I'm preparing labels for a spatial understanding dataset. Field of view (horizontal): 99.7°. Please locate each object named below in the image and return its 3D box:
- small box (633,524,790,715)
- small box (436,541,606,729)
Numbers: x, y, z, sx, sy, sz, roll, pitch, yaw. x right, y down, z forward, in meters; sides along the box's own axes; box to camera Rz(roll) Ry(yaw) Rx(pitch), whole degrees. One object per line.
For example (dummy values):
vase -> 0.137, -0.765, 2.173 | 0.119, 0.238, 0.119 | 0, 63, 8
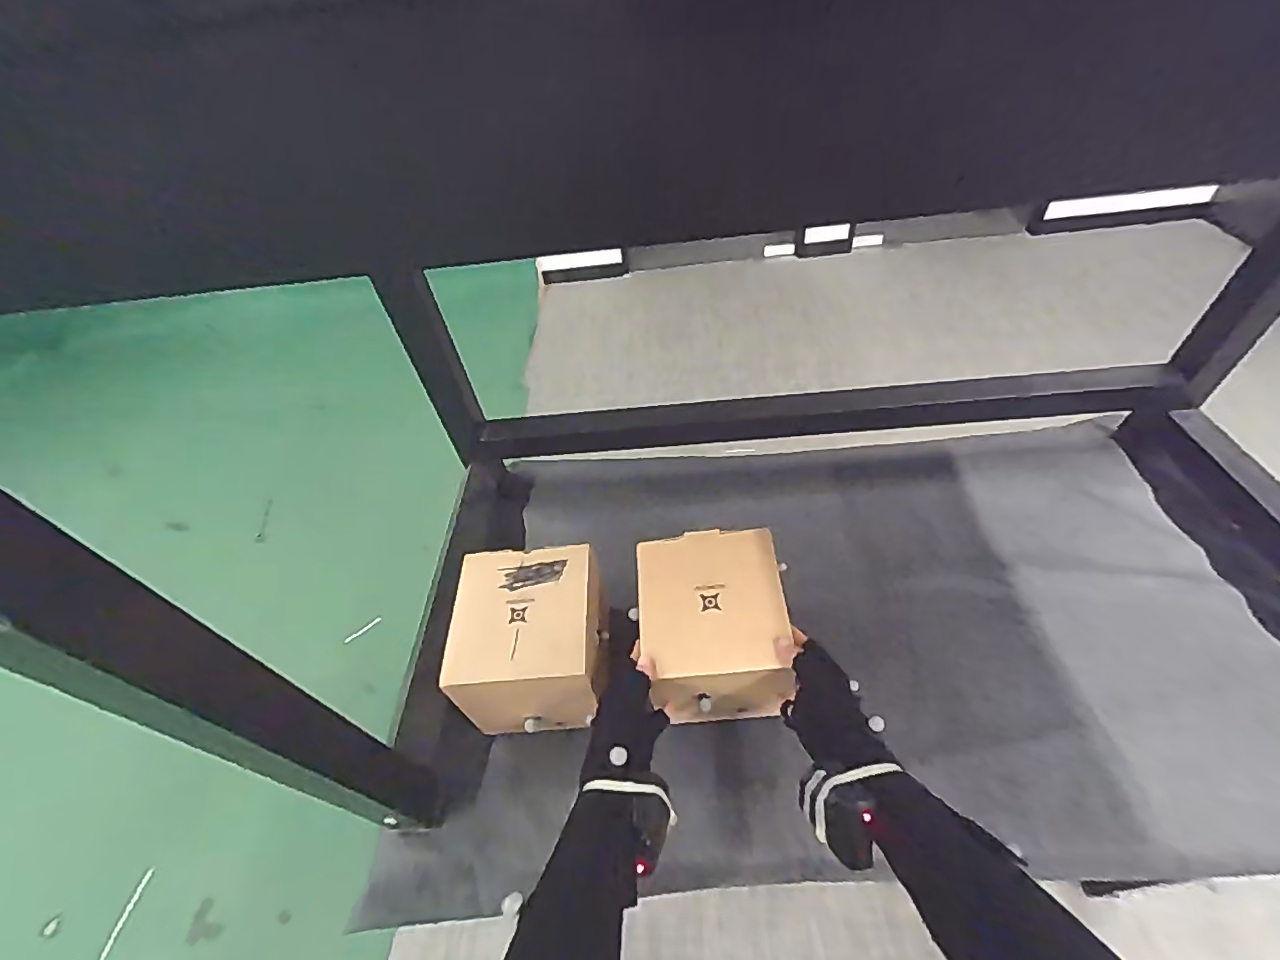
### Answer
small box -> 0.088, 0.180, 0.673 | 0.168, 0.176, 0.179 | -8, 48, 6
small box -> -0.138, 0.202, 0.701 | 0.168, 0.176, 0.179 | -6, 48, 3
